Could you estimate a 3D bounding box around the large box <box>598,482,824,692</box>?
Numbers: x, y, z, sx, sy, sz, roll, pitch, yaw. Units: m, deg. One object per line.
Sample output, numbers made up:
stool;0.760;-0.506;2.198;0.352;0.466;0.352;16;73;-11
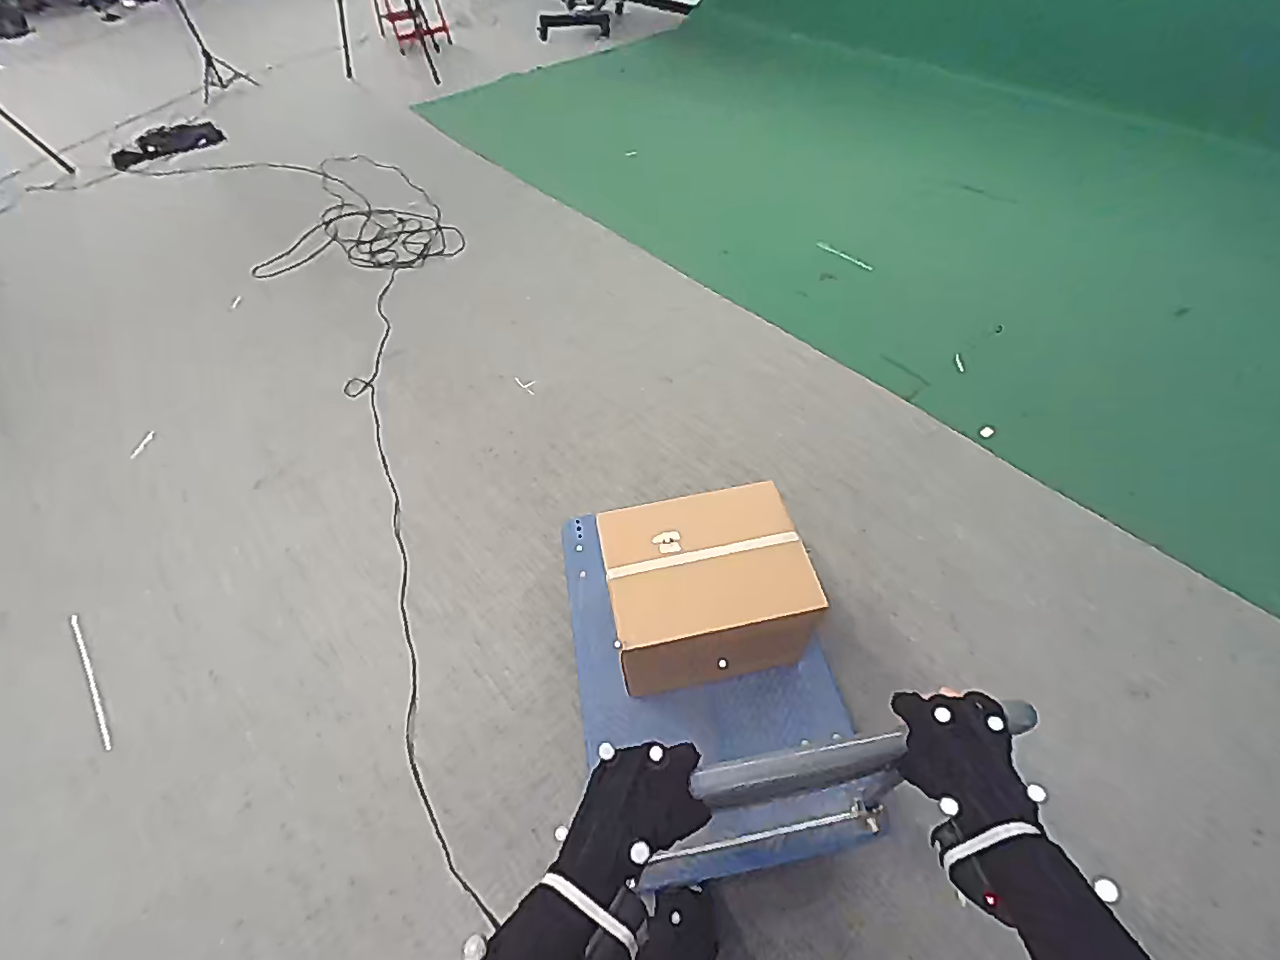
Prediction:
large box;0.140;0.248;1.228;0.408;0.320;0.320;-11;53;-5
